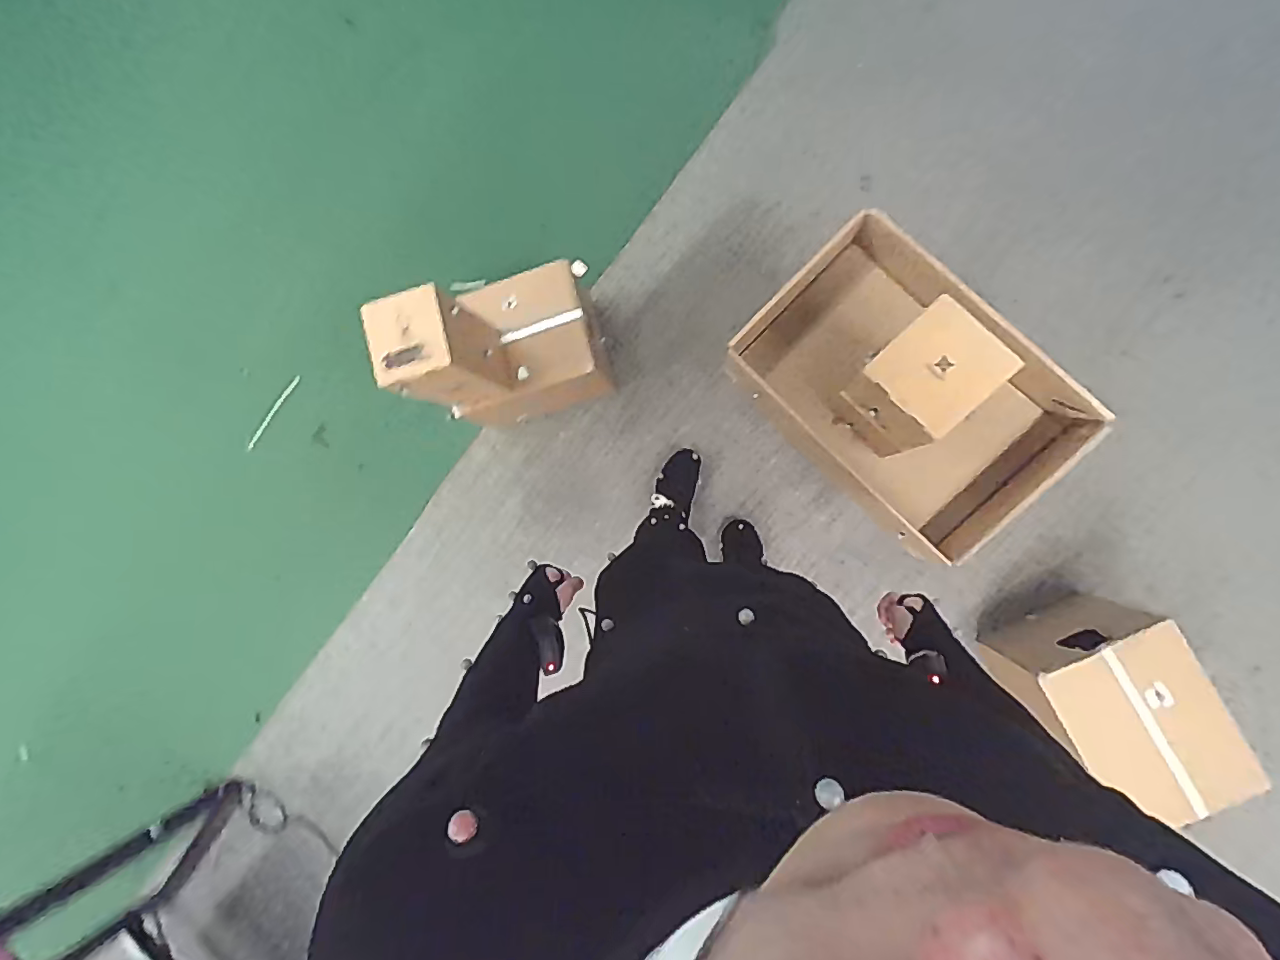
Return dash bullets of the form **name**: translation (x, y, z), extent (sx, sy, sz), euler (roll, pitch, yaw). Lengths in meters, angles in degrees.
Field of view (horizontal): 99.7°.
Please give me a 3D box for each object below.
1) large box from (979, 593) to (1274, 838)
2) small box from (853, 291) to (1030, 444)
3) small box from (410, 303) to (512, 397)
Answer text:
- **large box**: translation (1.140, 0.545, 1.325), extent (0.320, 0.320, 0.408), euler (-28, 84, 7)
- **small box**: translation (0.495, -0.180, 0.921), extent (0.179, 0.176, 0.168), euler (-44, 82, 7)
- **small box**: translation (-0.432, -0.309, 1.331), extent (0.168, 0.176, 0.179), euler (-12, 87, 7)
